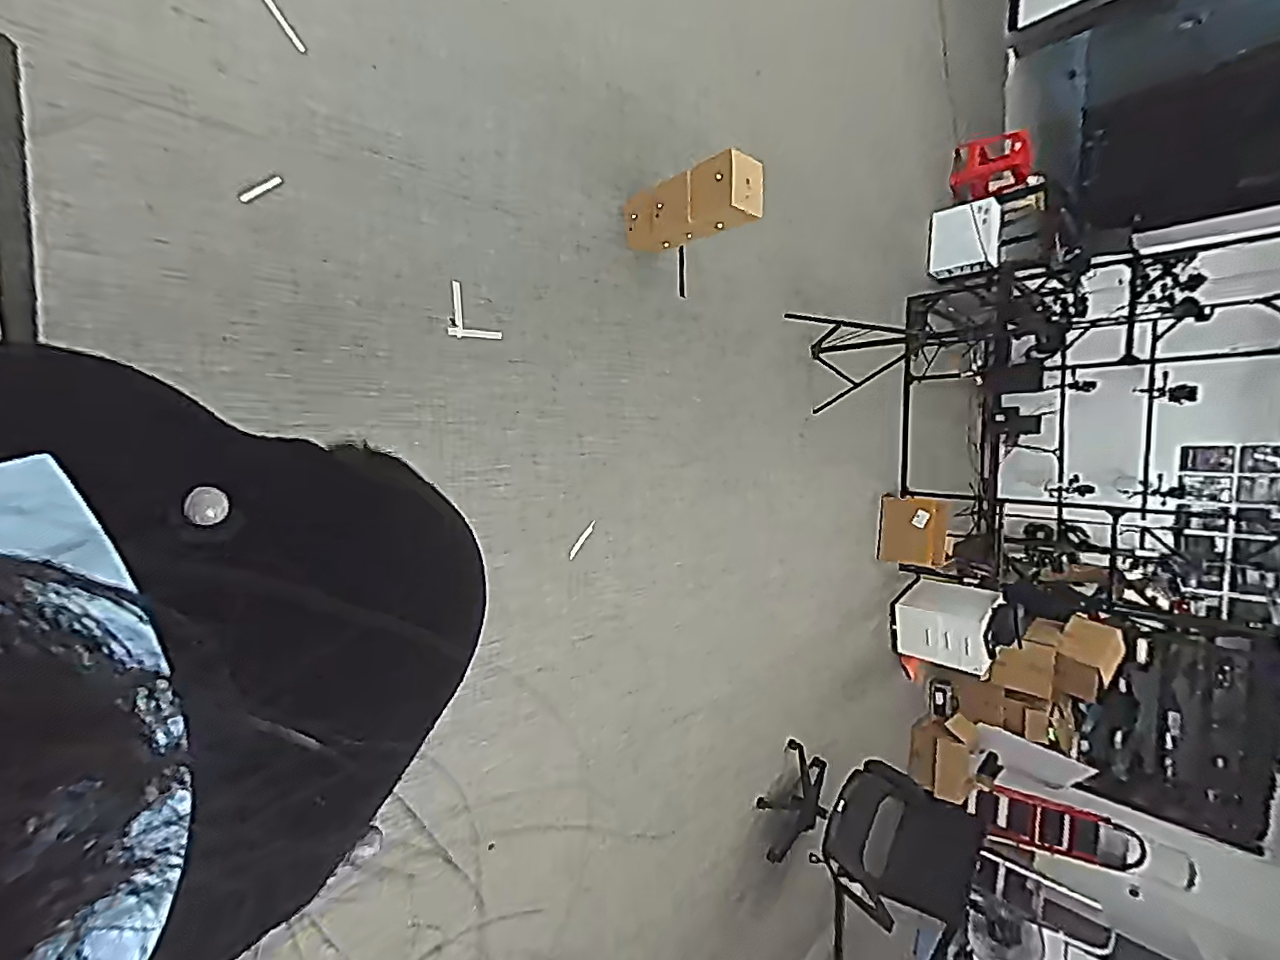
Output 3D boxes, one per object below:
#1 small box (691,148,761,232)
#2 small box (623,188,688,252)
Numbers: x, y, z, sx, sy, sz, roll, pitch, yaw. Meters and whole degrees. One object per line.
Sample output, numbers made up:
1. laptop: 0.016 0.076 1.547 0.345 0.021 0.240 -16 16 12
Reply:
1. small box: 0.279 -0.940 1.770 0.168 0.176 0.179 -5 97 -43
2. small box: 0.059 -0.960 2.015 0.179 0.176 0.168 -12 102 -43
